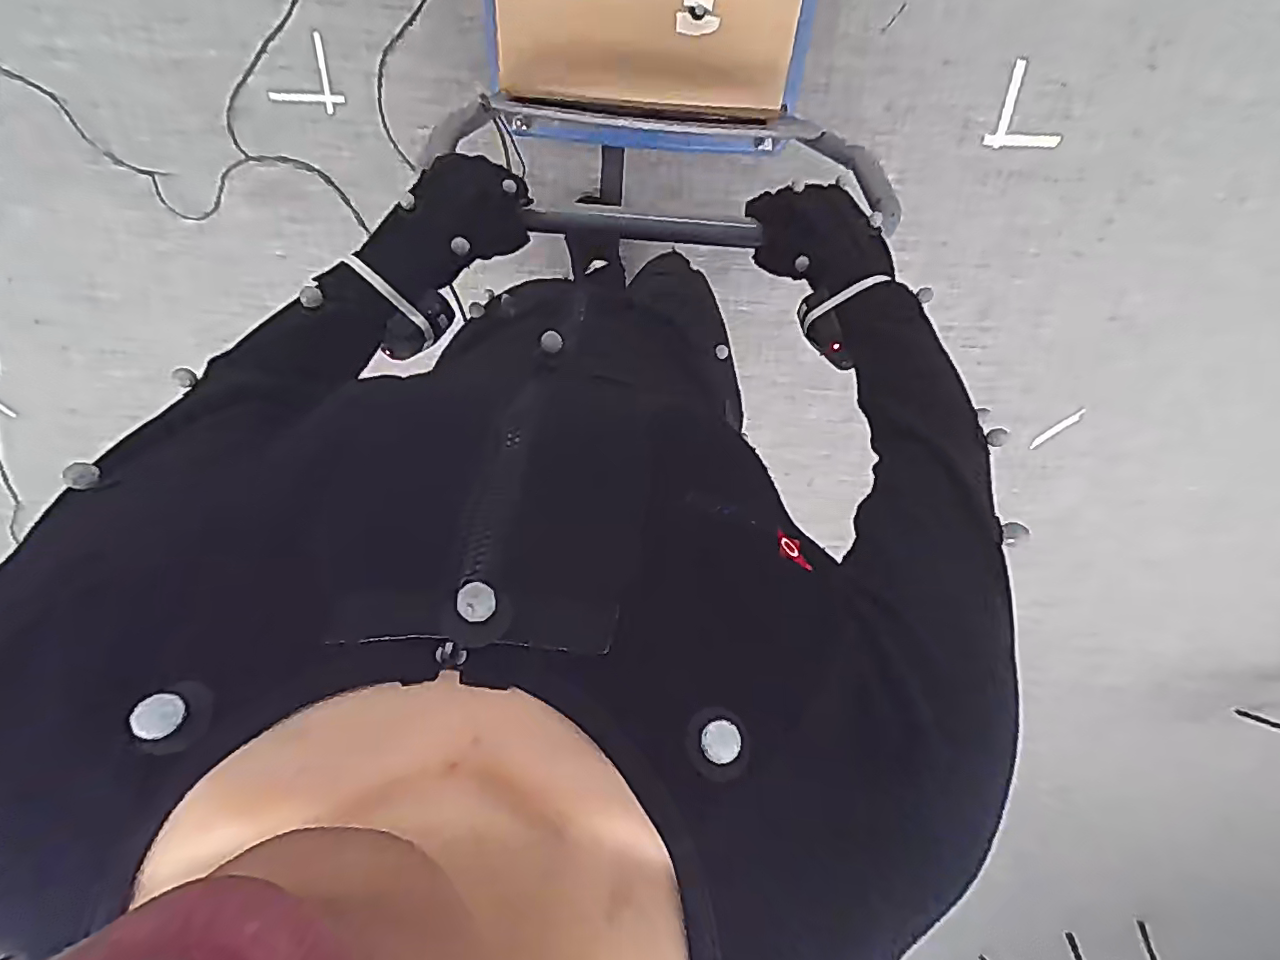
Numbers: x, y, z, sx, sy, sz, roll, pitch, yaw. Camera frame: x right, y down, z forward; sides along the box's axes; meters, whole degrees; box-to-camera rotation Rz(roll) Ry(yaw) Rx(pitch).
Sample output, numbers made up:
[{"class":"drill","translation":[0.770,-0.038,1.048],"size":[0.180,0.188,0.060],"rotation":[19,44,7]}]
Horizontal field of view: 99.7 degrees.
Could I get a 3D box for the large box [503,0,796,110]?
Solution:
[{"class":"large box","translation":[0.009,-0.767,0.828],"size":[0.408,0.320,0.320],"rotation":[2,126,-5]}]
